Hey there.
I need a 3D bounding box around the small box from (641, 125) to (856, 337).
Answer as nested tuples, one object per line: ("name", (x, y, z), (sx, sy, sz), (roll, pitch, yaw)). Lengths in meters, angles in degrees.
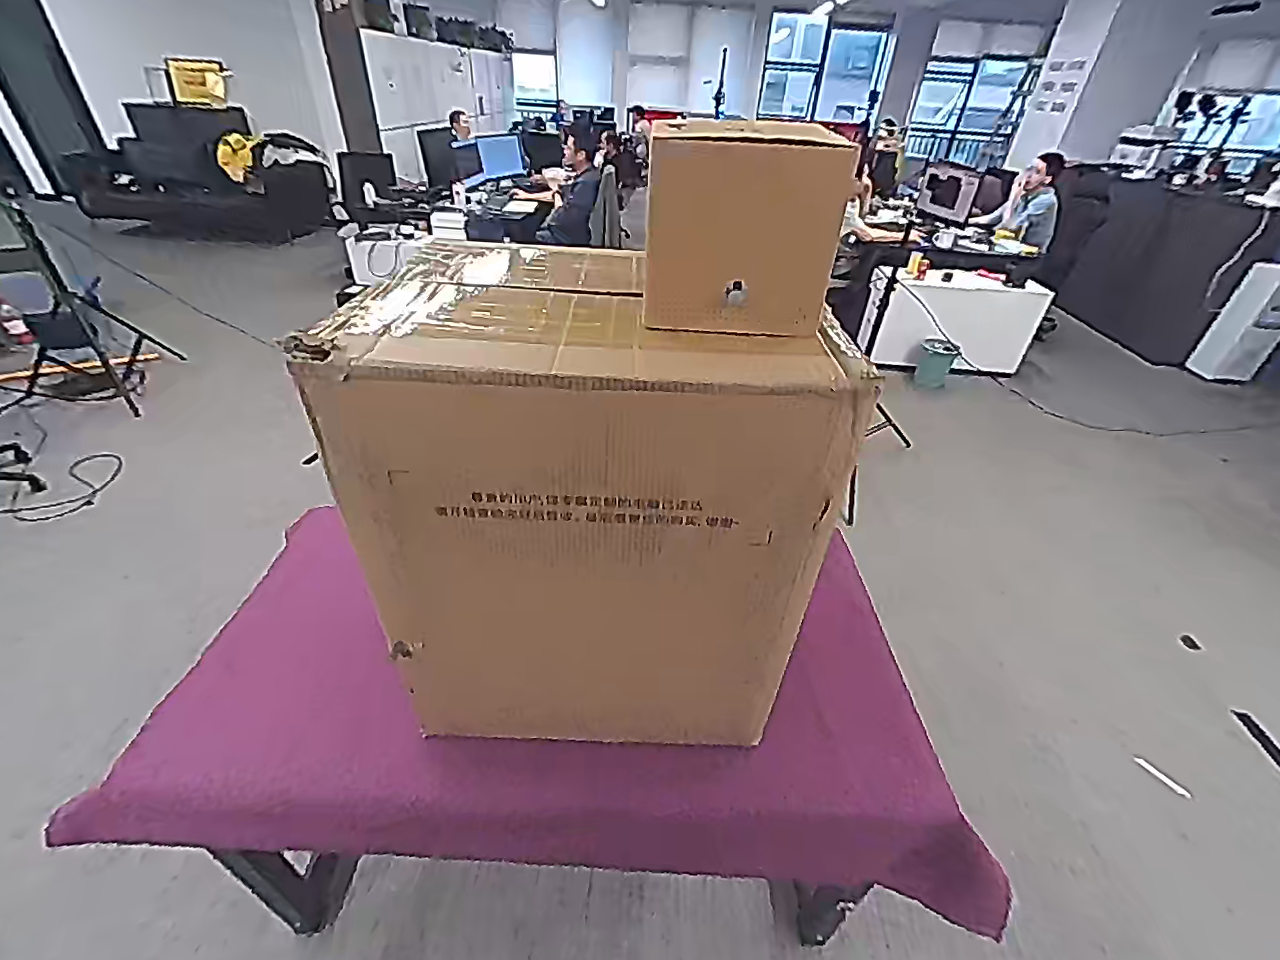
("small box", (0.096, -0.259, 0.564), (0.179, 0.176, 0.168), (3, 36, 0))
